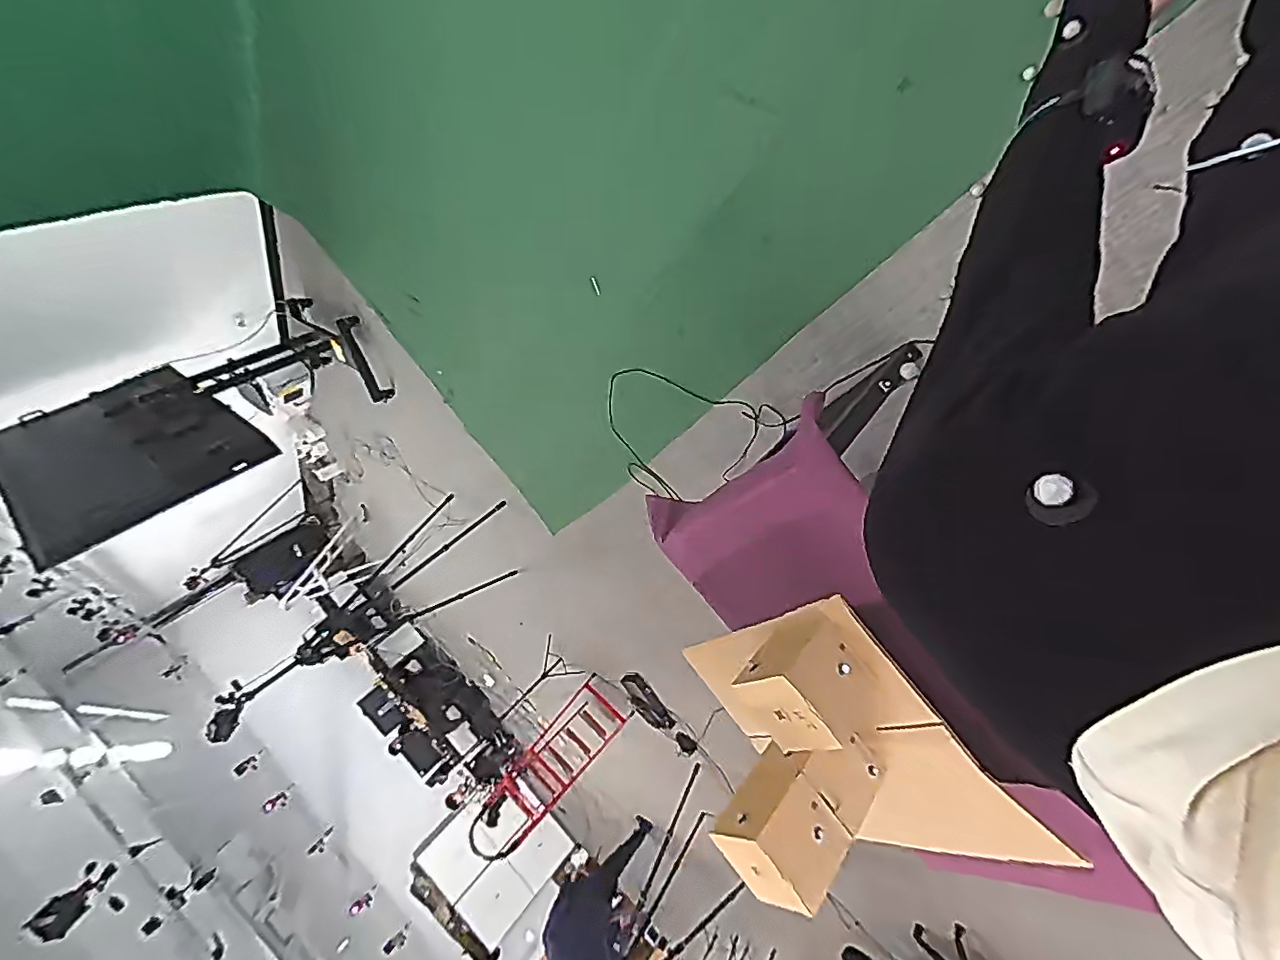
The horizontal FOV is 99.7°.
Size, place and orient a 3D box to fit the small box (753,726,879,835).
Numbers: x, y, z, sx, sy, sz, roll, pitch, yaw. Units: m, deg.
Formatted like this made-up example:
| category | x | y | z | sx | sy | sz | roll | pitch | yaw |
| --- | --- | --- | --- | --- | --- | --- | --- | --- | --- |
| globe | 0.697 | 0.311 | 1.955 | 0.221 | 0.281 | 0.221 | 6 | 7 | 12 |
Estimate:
| category | x | y | z | sx | sy | sz | roll | pitch | yaw |
| --- | --- | --- | --- | --- | --- | --- | --- | --- | --- |
| small box | 0.389 | 0.627 | 1.175 | 0.168 | 0.176 | 0.179 | 51 | 144 | 5 |

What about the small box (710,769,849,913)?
| category | x | y | z | sx | sy | sz | roll | pitch | yaw |
| --- | --- | --- | --- | --- | --- | --- | --- | --- | --- |
| small box | 0.281 | 0.709 | 1.086 | 0.168 | 0.176 | 0.179 | 51 | 143 | 6 |

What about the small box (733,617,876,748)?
| category | x | y | z | sx | sy | sz | roll | pitch | yaw |
| --- | --- | --- | --- | --- | --- | --- | --- | --- | --- |
| small box | 0.324 | 0.397 | 1.063 | 0.168 | 0.176 | 0.179 | 51 | 143 | 3 |
